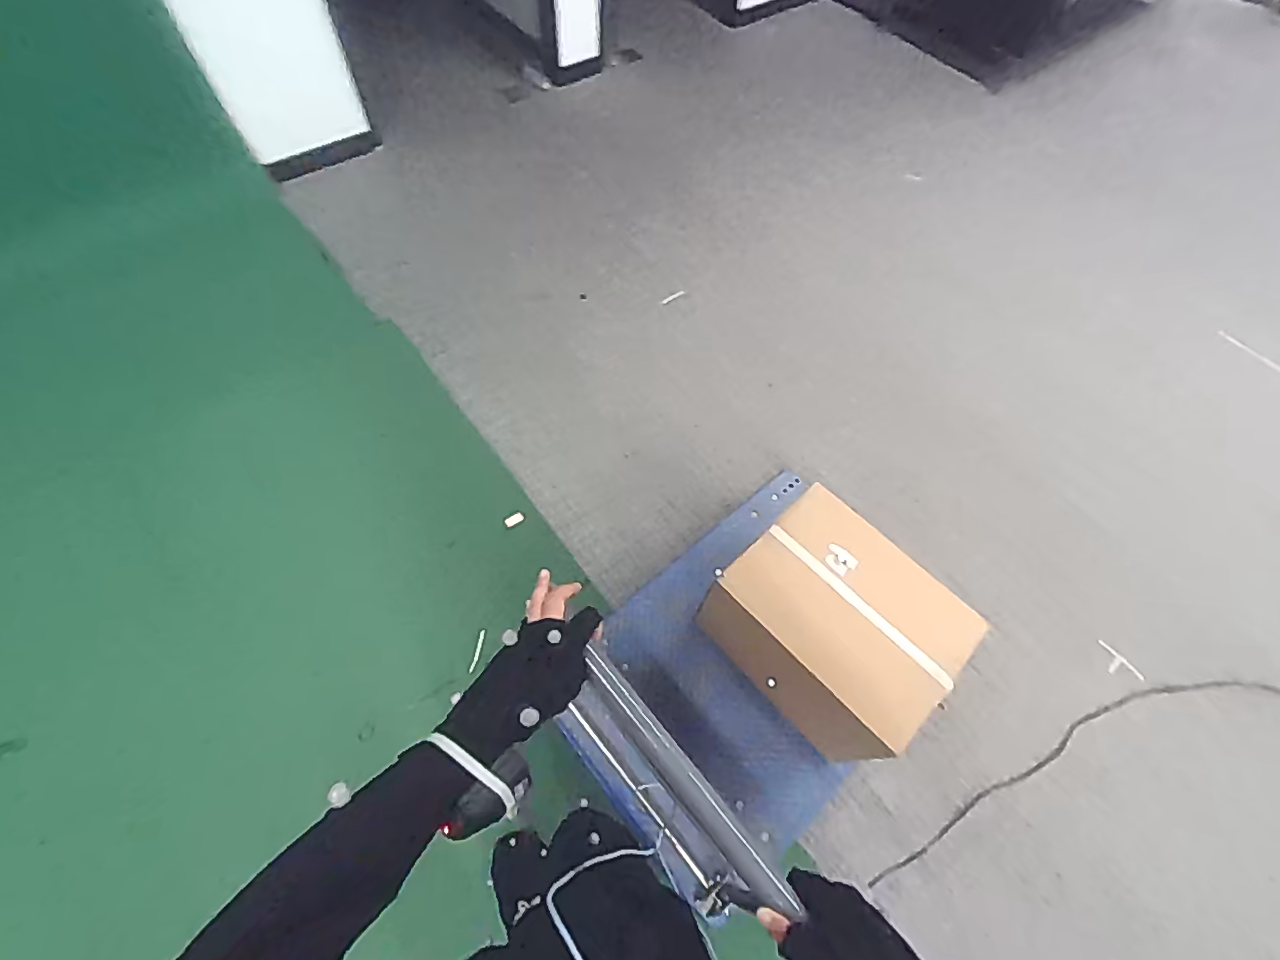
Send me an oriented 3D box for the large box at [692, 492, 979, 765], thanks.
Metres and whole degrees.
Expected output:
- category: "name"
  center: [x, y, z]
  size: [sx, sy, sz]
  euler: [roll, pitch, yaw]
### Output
- category: "large box"
  center: [0.366, 0.310, 1.115]
  size: [0.320, 0.320, 0.408]
  euler: [-38, 68, -22]
